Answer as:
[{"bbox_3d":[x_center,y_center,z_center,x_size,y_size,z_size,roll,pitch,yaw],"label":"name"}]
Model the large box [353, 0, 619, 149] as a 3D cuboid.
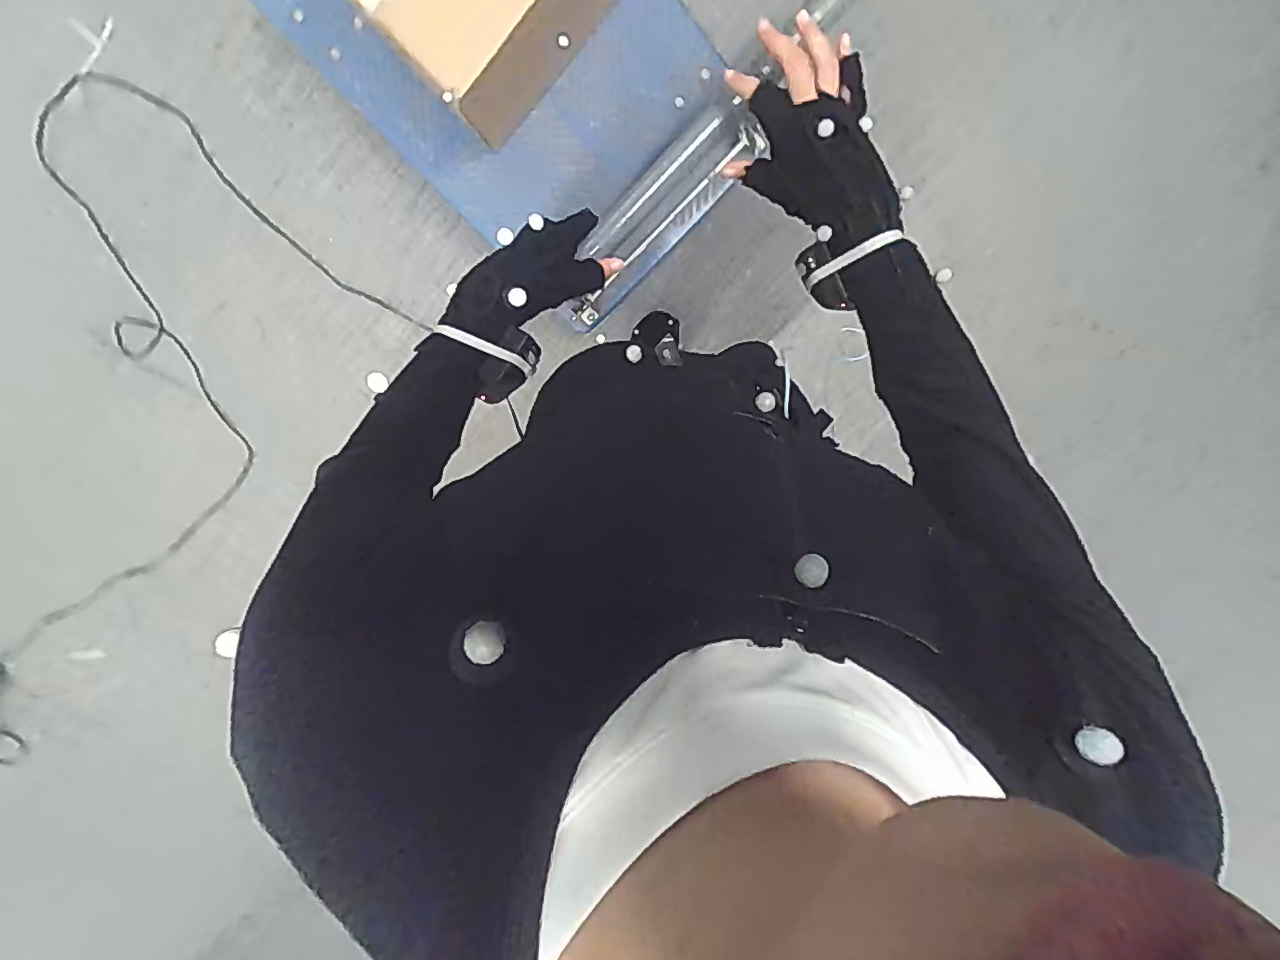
[{"bbox_3d":[-0.241,-0.842,0.864,0.320,0.320,0.408,42,102,-14],"label":"large box"}]
